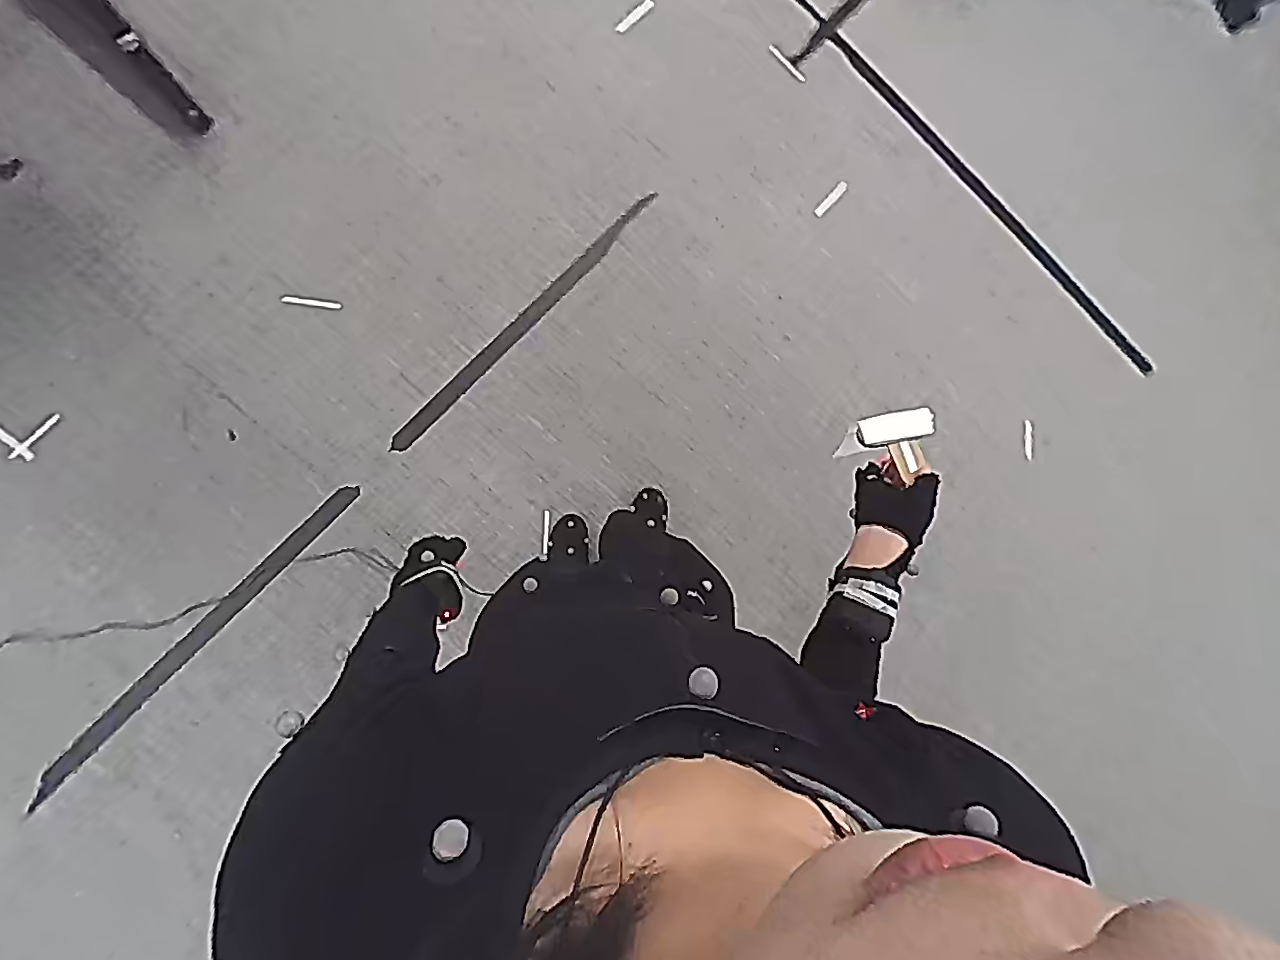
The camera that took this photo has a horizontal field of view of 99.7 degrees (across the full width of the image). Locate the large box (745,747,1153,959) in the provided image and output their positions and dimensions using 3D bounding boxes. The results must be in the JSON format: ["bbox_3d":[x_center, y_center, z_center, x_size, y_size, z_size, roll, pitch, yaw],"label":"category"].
[{"bbox_3d":[0.433,0.711,0.810,0.320,0.320,0.408,40,82,-5],"label":"large box"}]
